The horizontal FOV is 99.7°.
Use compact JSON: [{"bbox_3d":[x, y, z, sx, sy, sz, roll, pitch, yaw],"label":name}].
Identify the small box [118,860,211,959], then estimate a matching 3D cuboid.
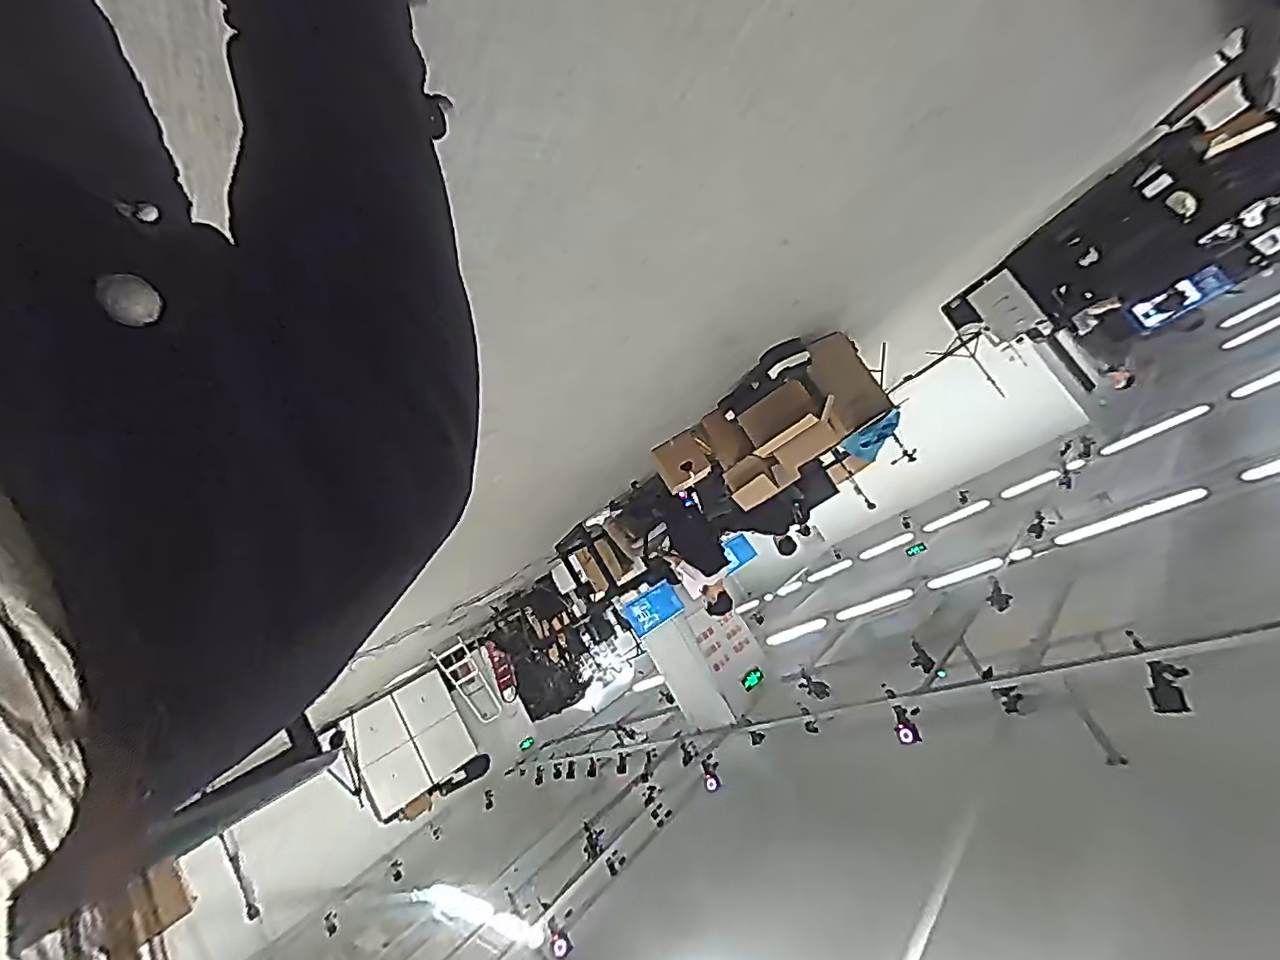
[{"bbox_3d":[-1.441,1.296,1.640,0.179,0.176,0.168,-23,167,-42],"label":"small box"}]
